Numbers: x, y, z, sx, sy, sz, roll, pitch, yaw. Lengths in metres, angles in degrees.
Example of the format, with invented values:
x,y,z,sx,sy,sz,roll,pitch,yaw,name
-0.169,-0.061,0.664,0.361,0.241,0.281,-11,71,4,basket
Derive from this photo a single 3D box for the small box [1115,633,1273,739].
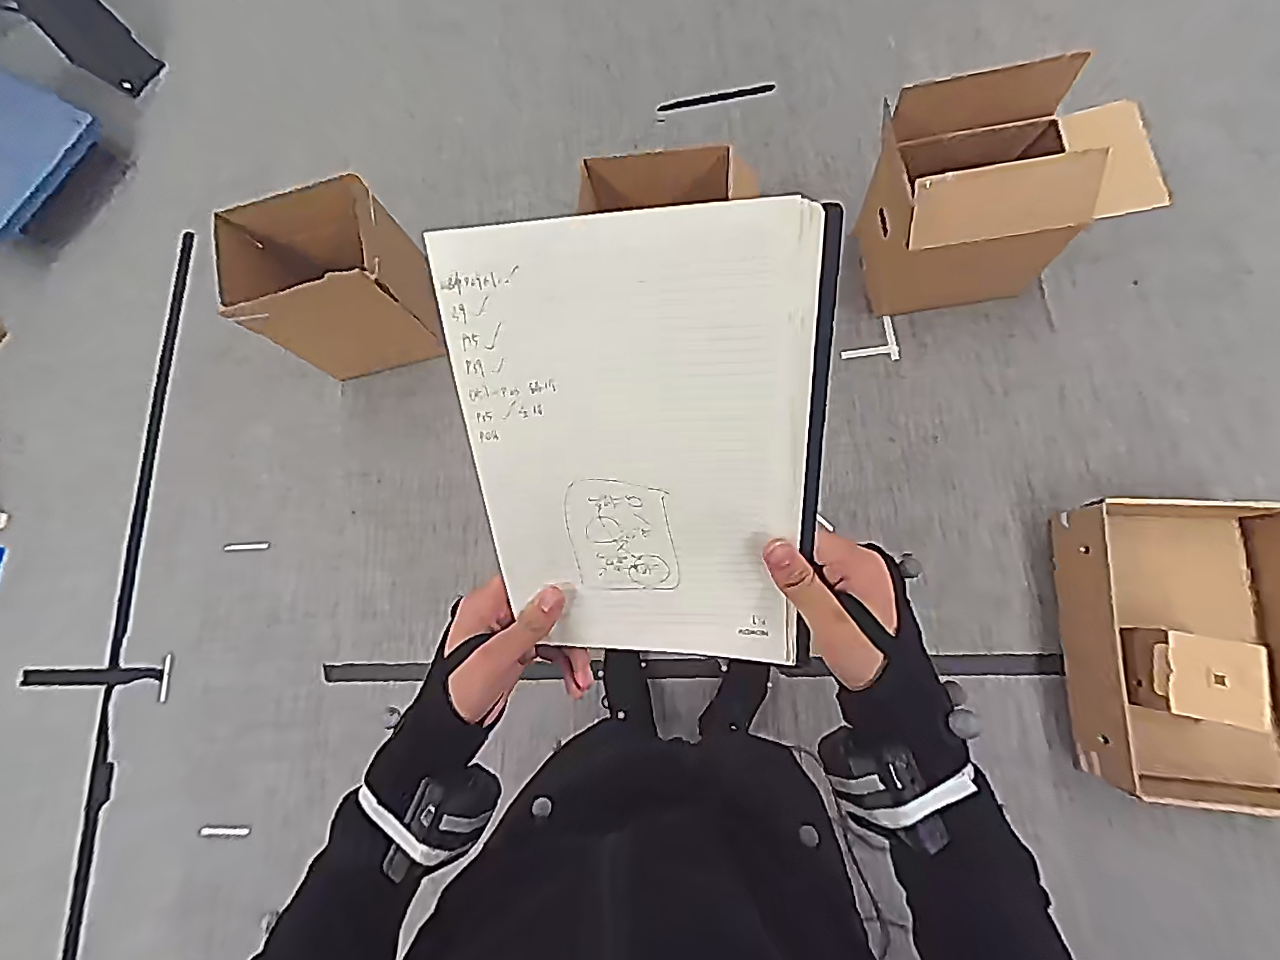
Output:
x,y,z,sx,sy,sz,roll,pitch,yaw,name
1.157,0.425,1.144,0.179,0.176,0.168,10,78,11,small box
